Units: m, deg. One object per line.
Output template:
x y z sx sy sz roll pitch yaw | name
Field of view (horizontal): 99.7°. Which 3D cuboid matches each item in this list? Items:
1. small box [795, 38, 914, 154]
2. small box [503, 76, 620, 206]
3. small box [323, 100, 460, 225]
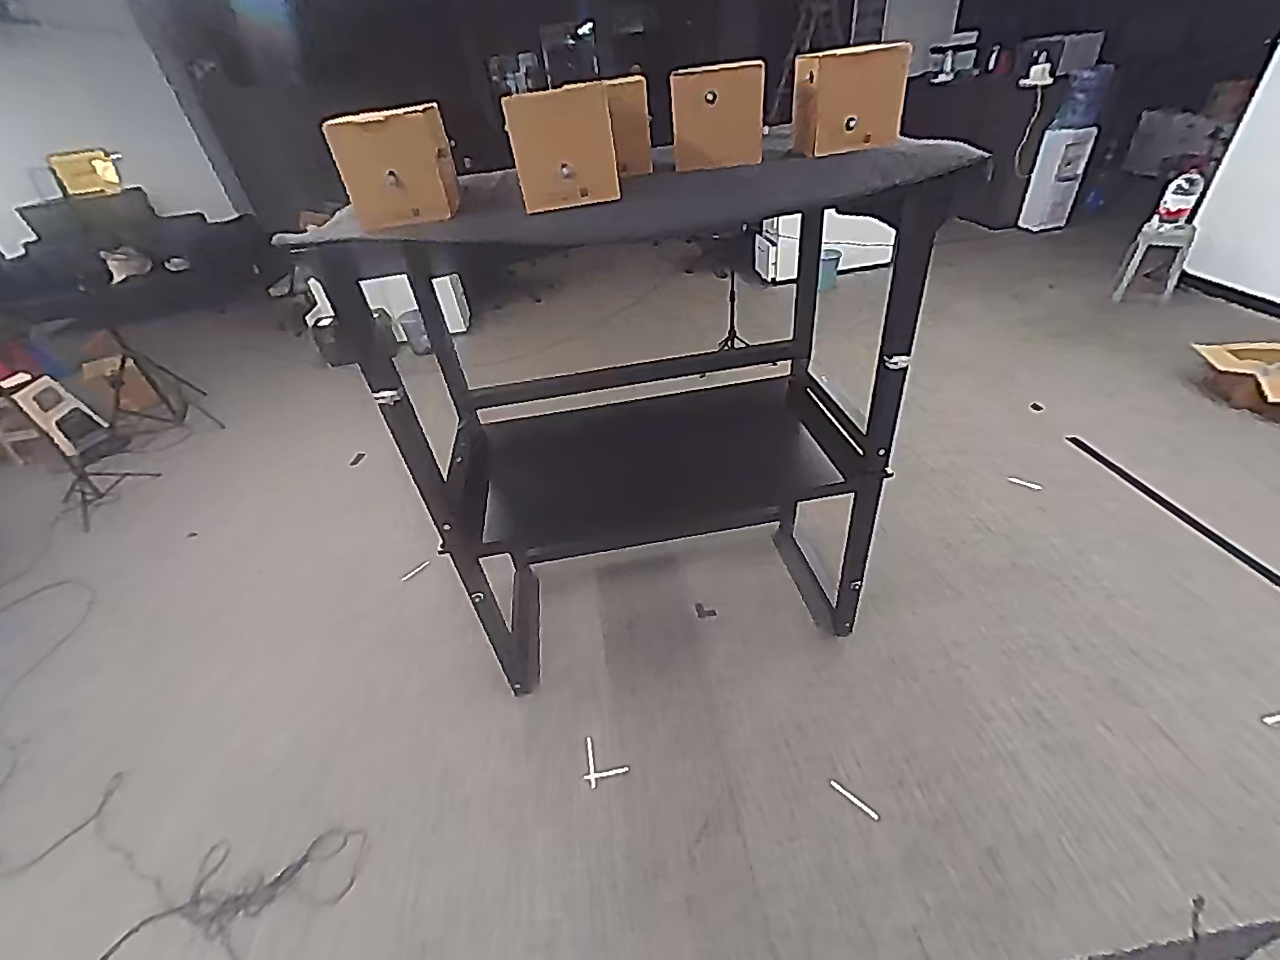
0.415 -0.764 1.081 0.168 0.176 0.179 -7 38 2 | small box
-0.130 -0.593 0.952 0.168 0.176 0.179 -9 36 1 | small box
-0.441 -0.581 0.995 0.168 0.176 0.179 -11 39 -4 | small box
